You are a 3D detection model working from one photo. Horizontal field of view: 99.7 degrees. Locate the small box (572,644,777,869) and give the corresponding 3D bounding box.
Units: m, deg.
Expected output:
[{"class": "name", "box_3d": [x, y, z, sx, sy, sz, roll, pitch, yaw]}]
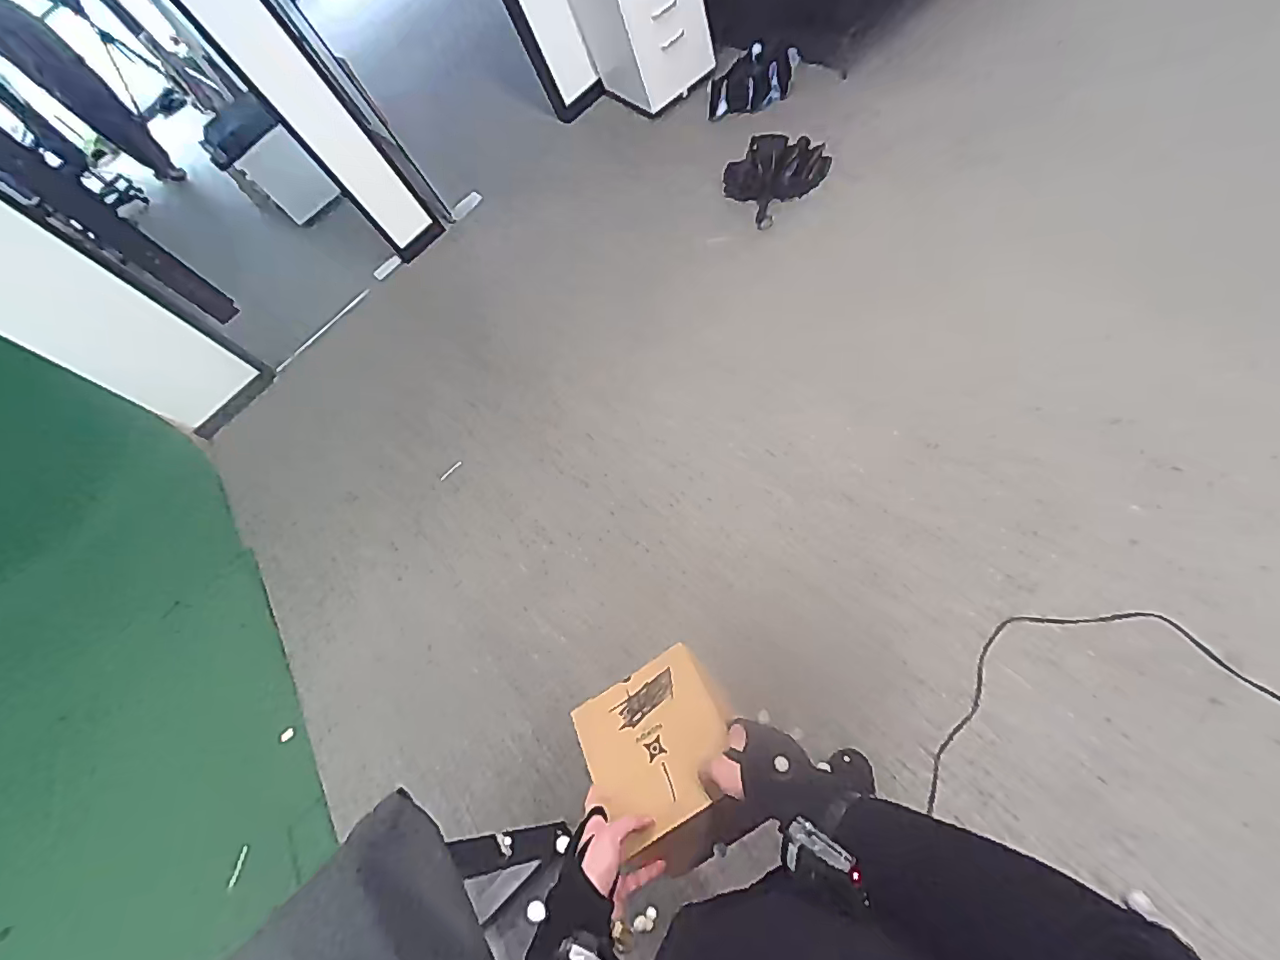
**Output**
[{"class": "small box", "box_3d": [0.044, 0.348, 0.677, 0.168, 0.176, 0.179, -34, 43, 1]}]
